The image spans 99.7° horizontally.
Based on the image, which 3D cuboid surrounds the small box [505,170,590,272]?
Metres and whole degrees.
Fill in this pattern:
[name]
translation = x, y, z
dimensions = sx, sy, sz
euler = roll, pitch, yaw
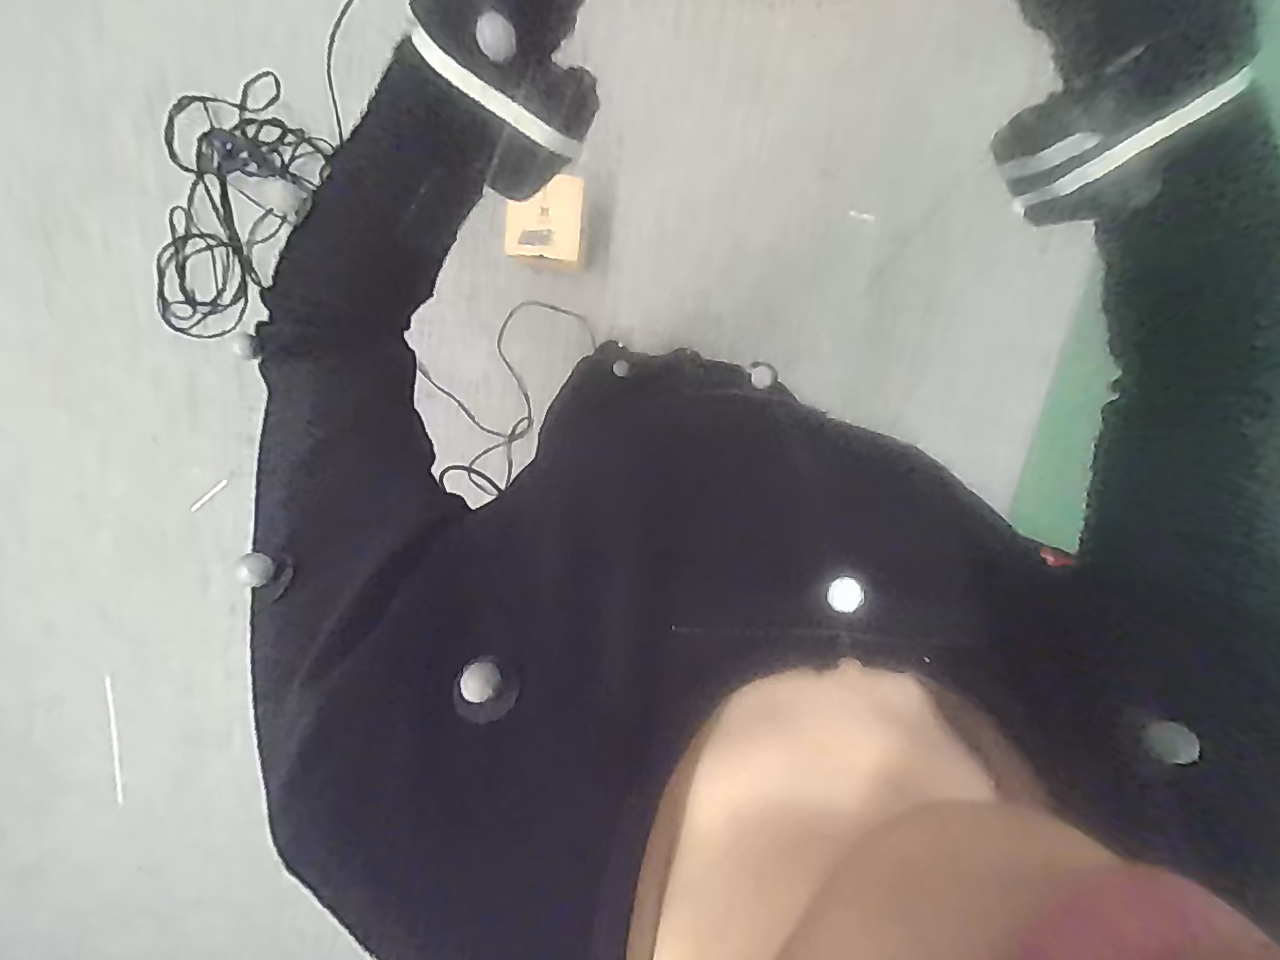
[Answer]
[small box]
translation = -0.209, -0.589, 1.254
dimensions = 0.168, 0.176, 0.179
euler = 6, 103, -2
